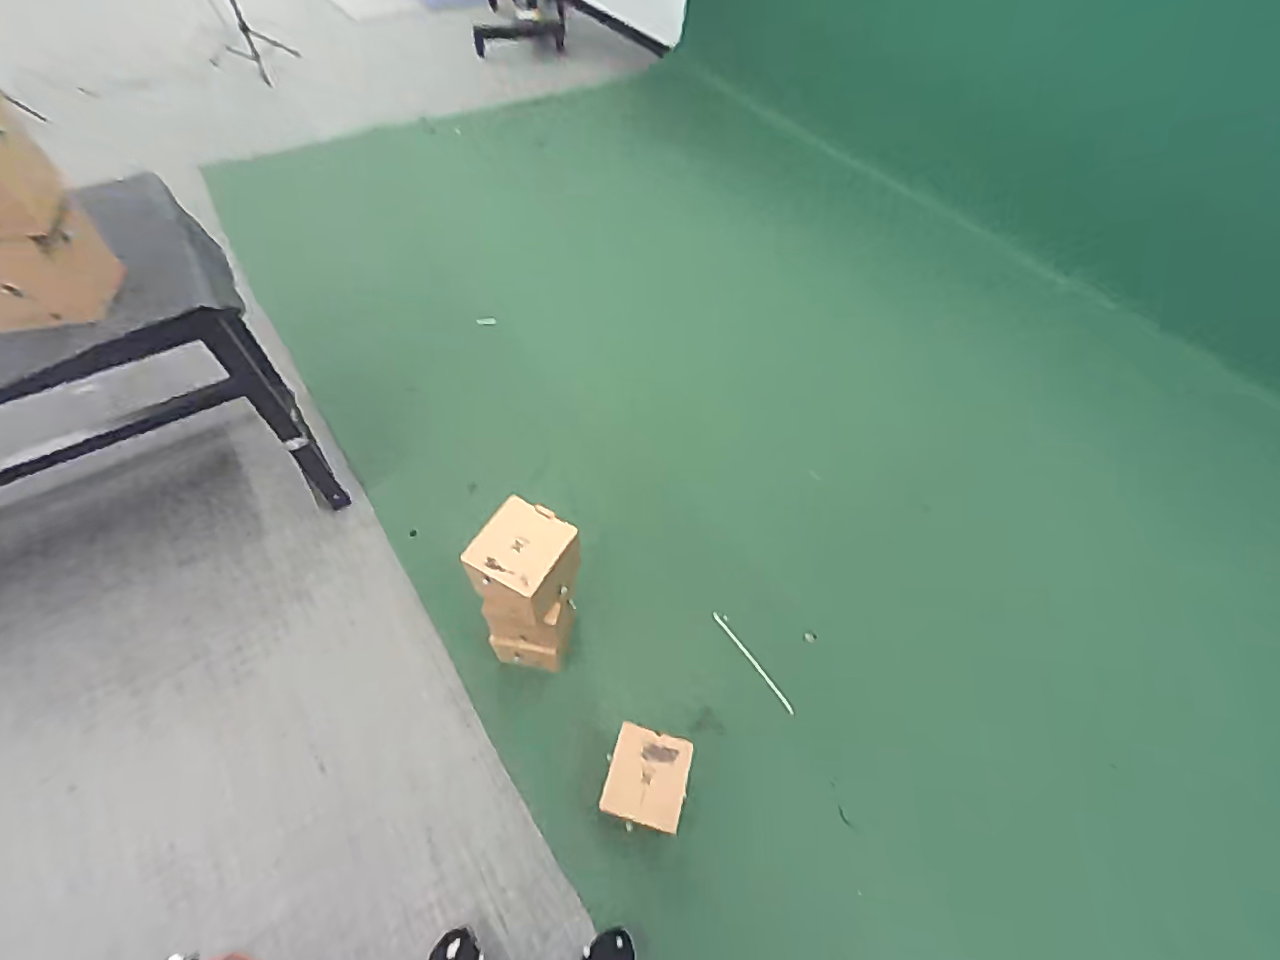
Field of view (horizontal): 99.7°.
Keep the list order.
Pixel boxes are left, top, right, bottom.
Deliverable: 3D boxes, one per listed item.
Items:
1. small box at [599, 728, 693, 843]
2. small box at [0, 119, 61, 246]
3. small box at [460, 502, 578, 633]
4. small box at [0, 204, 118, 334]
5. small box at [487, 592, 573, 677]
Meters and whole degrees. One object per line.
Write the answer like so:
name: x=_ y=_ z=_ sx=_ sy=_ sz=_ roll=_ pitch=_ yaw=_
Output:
small box: x=0.010 y=0.678 z=1.197 sx=0.168 sy=0.176 sz=0.179 roll=15 pitch=56 yaw=7
small box: x=-1.068 y=-0.474 z=0.836 sx=0.168 sy=0.176 sz=0.179 roll=-15 pitch=55 yaw=-15
small box: x=-0.242 y=0.184 z=1.127 sx=0.168 sy=0.176 sz=0.179 roll=26 pitch=57 yaw=14
small box: x=-1.097 y=-0.377 z=0.964 sx=0.168 sy=0.176 sz=0.179 roll=-11 pitch=54 yaw=-12
small box: x=-0.271 y=0.388 z=1.384 sx=0.168 sy=0.176 sz=0.179 roll=9 pitch=54 yaw=3
